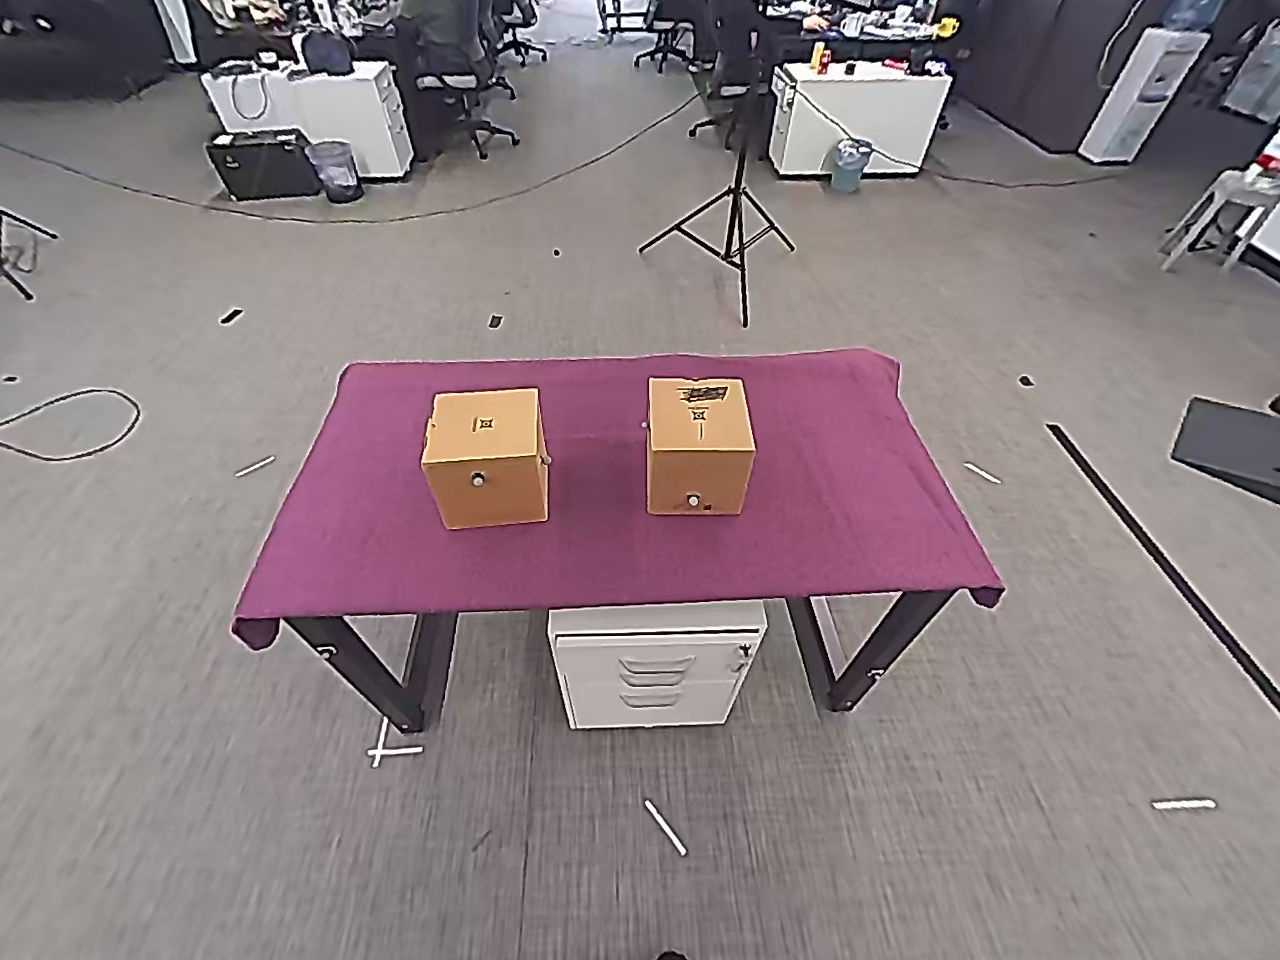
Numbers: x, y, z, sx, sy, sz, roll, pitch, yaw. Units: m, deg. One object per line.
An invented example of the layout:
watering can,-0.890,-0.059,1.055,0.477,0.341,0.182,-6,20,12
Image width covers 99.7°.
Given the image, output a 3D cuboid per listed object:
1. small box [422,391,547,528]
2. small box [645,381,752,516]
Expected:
small box,-0.256,-0.034,0.938,0.179,0.176,0.168,-5,48,-5
small box,0.094,-0.055,0.962,0.168,0.176,0.179,0,49,-1
